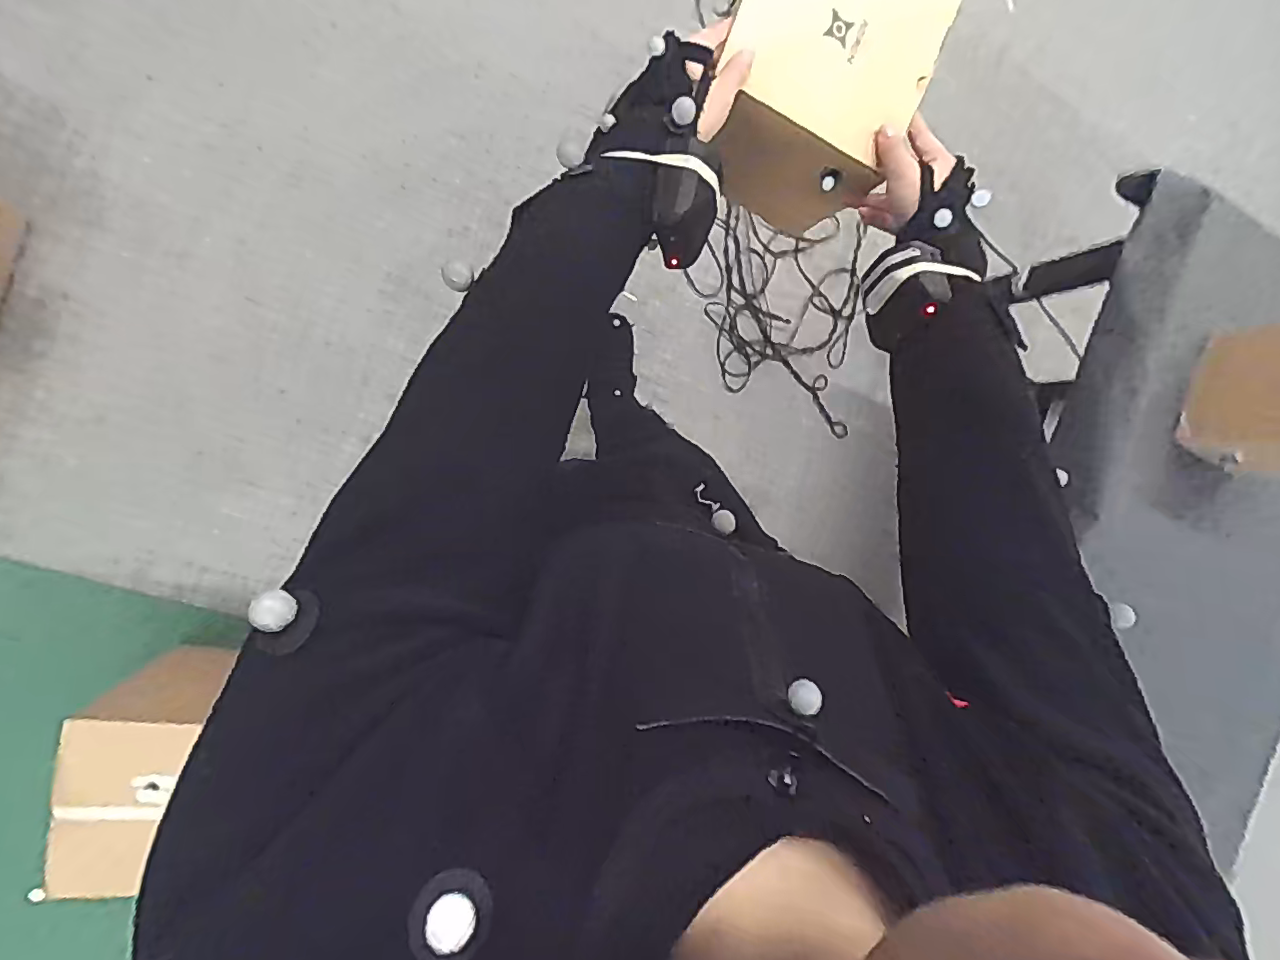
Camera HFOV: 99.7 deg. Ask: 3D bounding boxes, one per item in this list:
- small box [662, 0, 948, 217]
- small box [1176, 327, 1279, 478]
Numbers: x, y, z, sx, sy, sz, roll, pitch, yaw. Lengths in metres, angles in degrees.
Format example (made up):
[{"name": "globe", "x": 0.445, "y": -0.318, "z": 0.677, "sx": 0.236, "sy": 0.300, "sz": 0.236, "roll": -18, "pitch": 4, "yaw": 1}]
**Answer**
[{"name": "small box", "x": 0.139, "y": -0.380, "z": 0.512, "sx": 0.179, "sy": 0.176, "sz": 0.168, "roll": 19, "pitch": 94, "yaw": -15}, {"name": "small box", "x": 0.911, "y": -0.105, "z": 0.749, "sx": 0.168, "sy": 0.176, "sz": 0.179, "roll": 19, "pitch": 92, "yaw": -14}]
